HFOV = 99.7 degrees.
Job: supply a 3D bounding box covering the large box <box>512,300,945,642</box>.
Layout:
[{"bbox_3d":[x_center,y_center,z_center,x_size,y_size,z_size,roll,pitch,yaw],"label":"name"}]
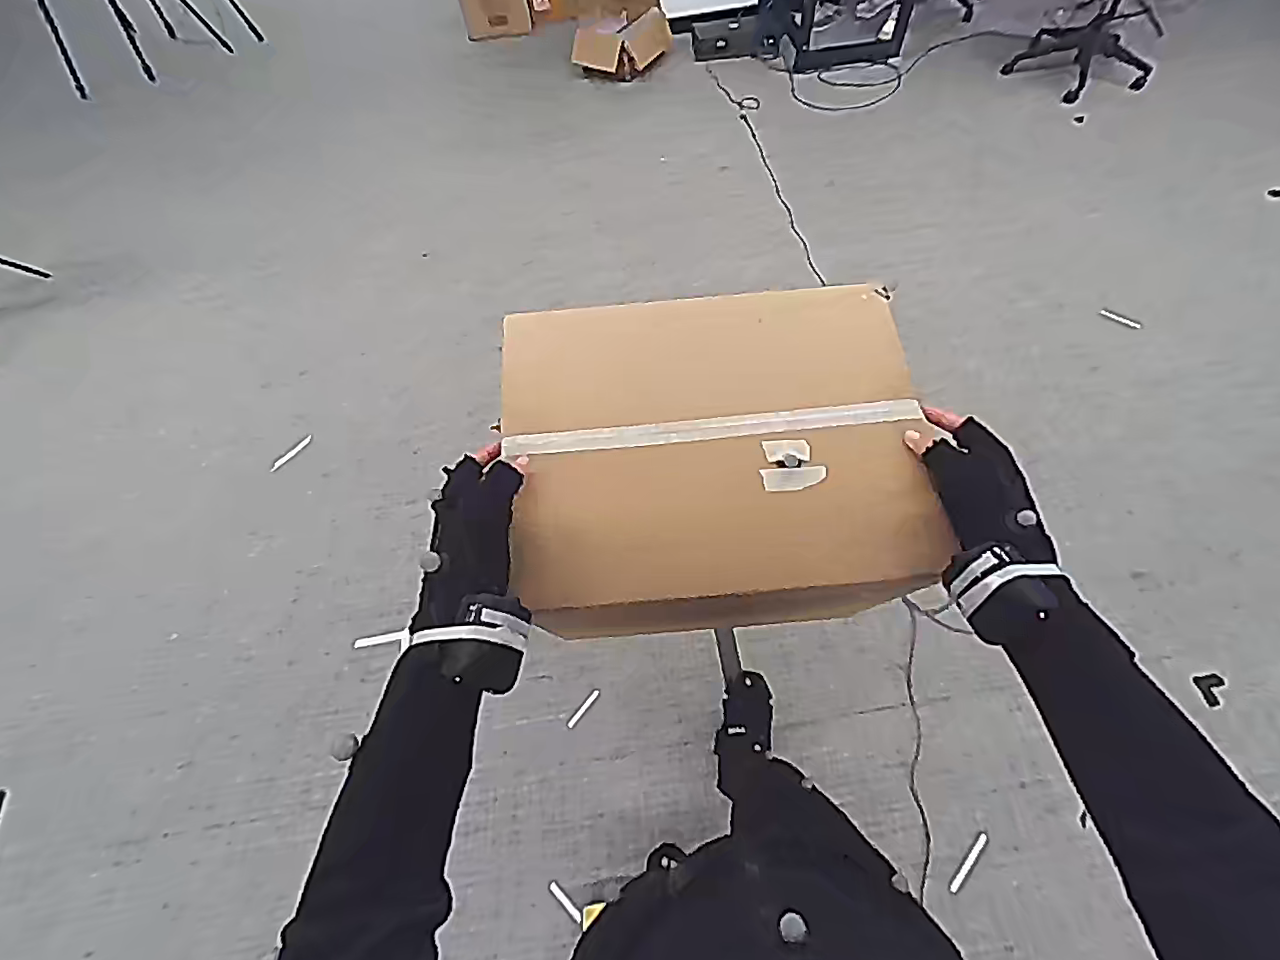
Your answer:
[{"bbox_3d":[0.072,0.014,0.684,0.408,0.320,0.320,-5,69,-1],"label":"large box"}]
